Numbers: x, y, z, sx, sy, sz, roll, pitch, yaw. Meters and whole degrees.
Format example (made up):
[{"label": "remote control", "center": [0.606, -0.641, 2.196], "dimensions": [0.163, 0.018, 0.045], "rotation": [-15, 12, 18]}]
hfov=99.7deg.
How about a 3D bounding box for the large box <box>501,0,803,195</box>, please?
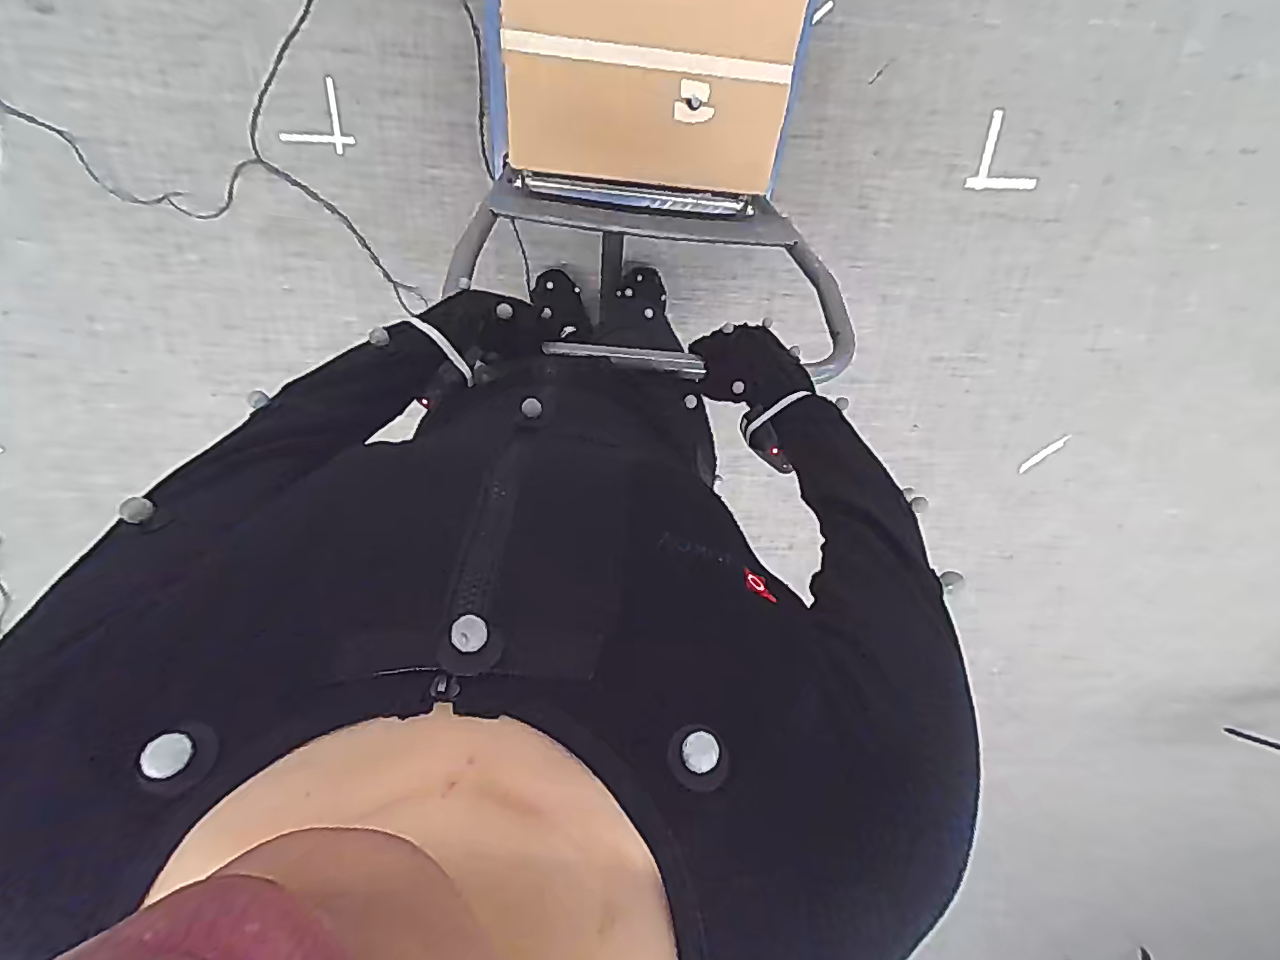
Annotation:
[{"label": "large box", "center": [0.002, -0.669, 0.865], "dimensions": [0.408, 0.320, 0.320], "rotation": [2, 129, -6]}]
